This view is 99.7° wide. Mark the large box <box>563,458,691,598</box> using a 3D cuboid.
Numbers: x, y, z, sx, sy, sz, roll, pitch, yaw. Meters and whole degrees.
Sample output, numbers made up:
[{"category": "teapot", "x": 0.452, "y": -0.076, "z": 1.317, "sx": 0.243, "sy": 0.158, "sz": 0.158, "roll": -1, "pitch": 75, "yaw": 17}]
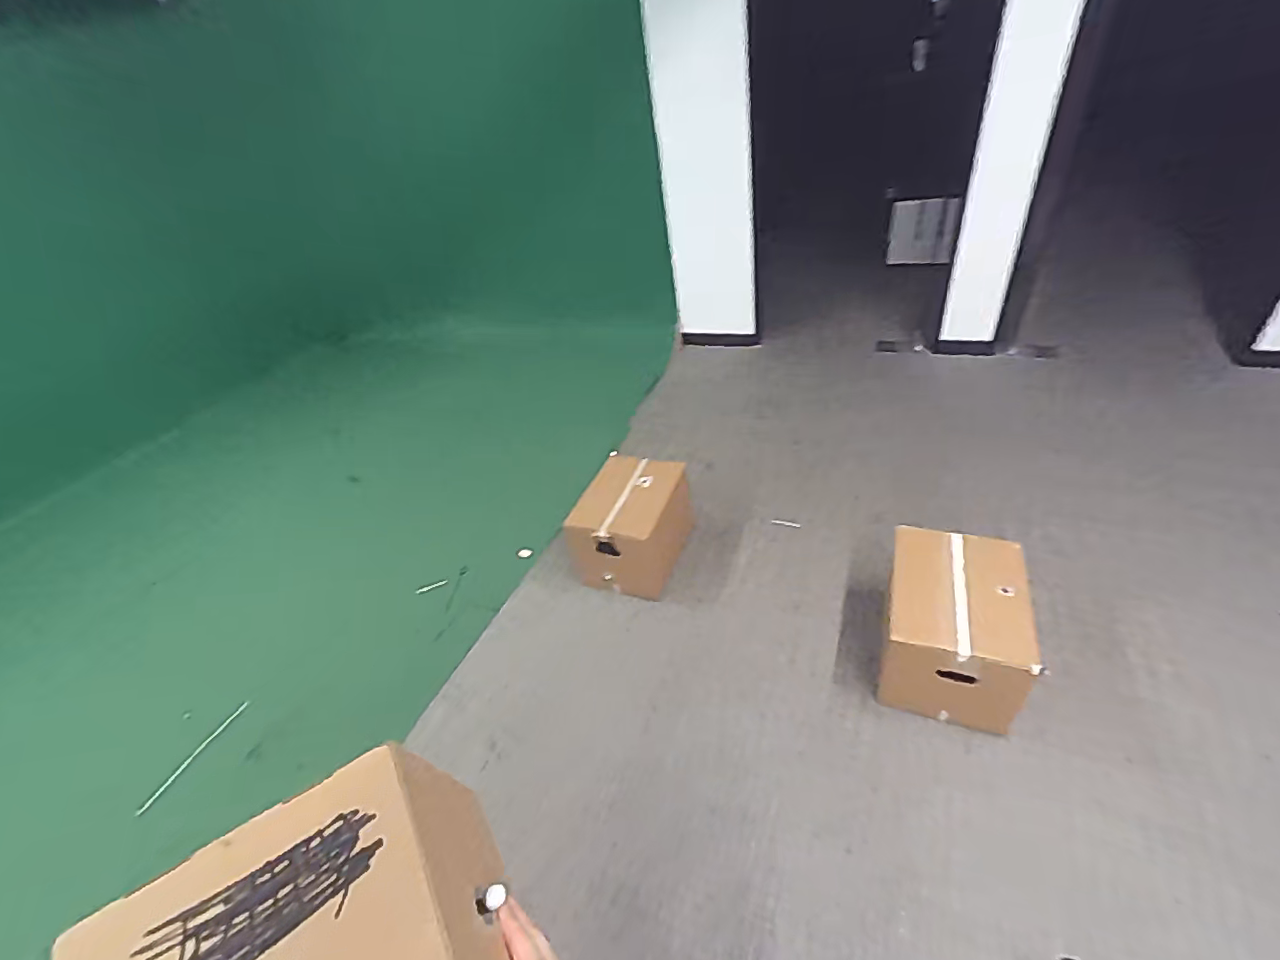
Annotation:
[{"category": "large box", "x": -0.027, "y": 0.167, "z": 1.987, "sx": 0.320, "sy": 0.320, "sz": 0.408, "roll": 7, "pitch": 41, "yaw": 23}]
